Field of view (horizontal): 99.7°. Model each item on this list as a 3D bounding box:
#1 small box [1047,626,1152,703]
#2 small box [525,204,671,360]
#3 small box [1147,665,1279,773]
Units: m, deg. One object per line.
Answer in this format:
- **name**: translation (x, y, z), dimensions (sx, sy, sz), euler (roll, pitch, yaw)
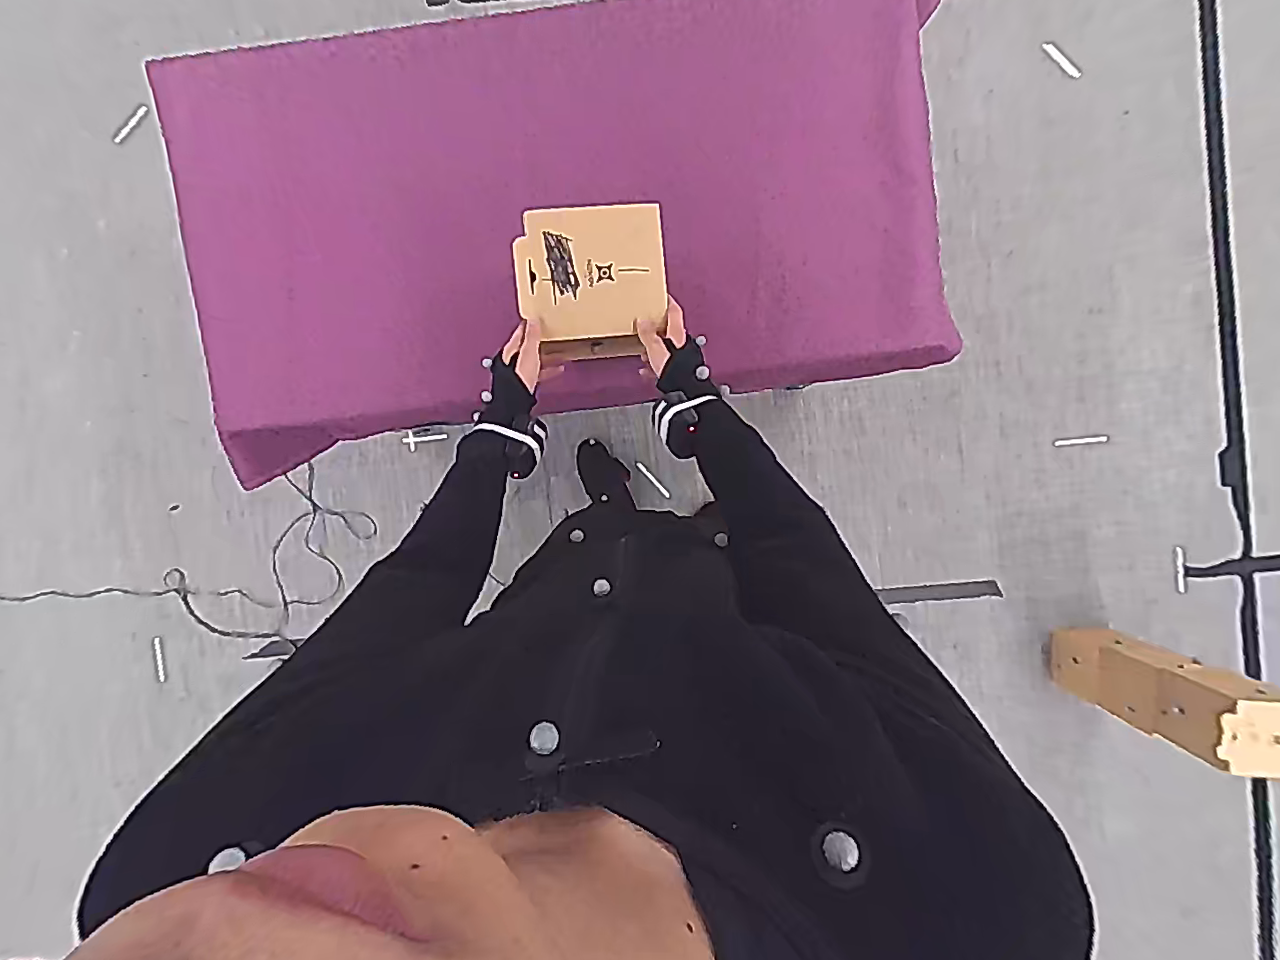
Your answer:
- **small box**: translation (1.317, 0.528, 1.561), dimensions (0.179, 0.176, 0.168), euler (-2, 94, 1)
- **small box**: translation (-0.059, -0.269, 0.769), dimensions (0.179, 0.176, 0.168), euler (-6, 95, -6)
- **small box**: translation (1.326, 0.536, 1.231), dimensions (0.179, 0.176, 0.168), euler (3, 94, 0)
